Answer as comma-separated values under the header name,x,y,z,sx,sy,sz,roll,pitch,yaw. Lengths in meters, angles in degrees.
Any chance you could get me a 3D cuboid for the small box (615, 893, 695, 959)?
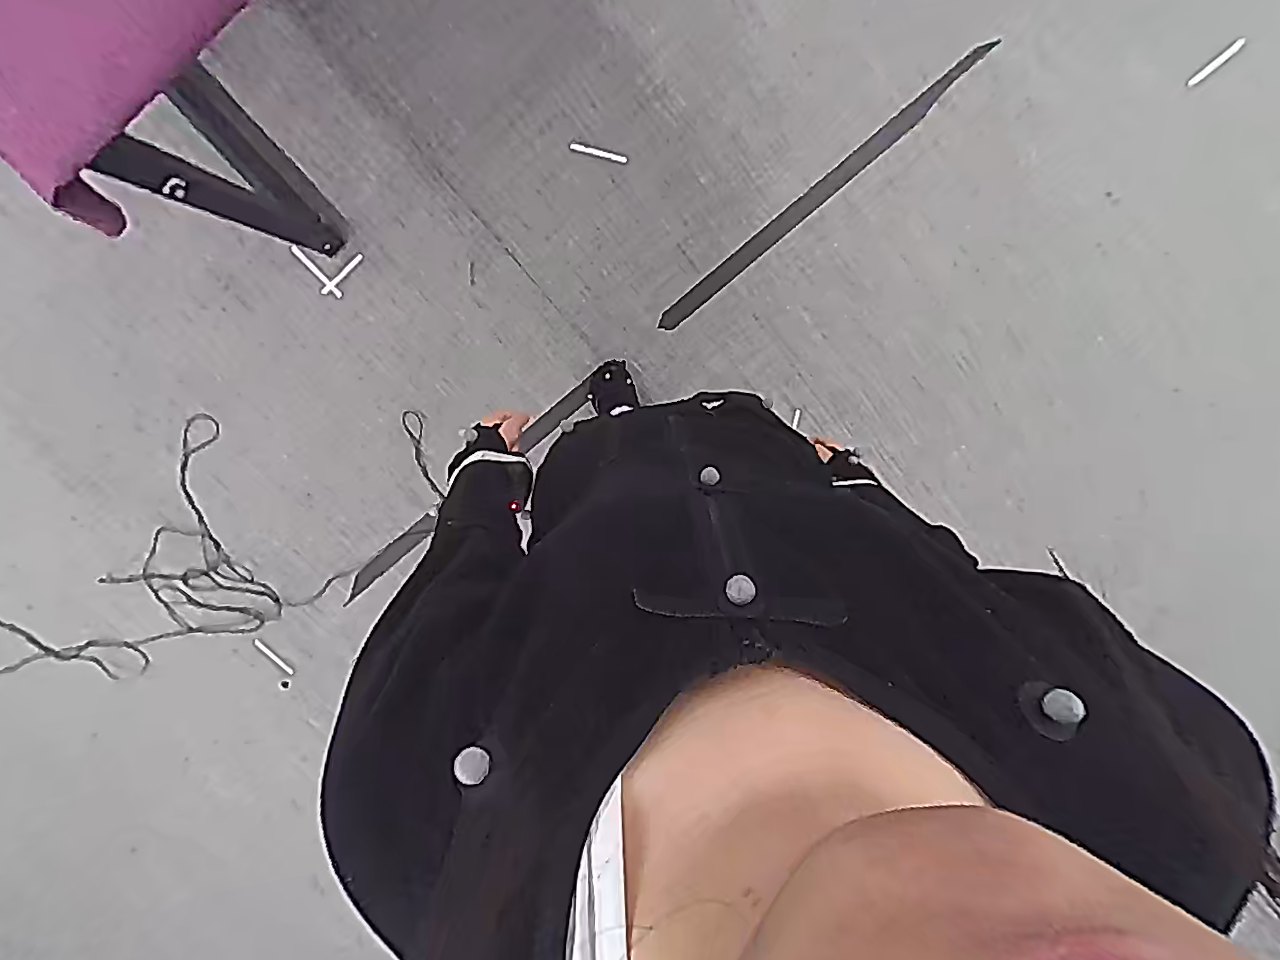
name,x,y,z,sx,sy,sz,roll,pitch,yaw
small box,0.035,1.191,1.369,0.179,0.176,0.168,8,101,-3
